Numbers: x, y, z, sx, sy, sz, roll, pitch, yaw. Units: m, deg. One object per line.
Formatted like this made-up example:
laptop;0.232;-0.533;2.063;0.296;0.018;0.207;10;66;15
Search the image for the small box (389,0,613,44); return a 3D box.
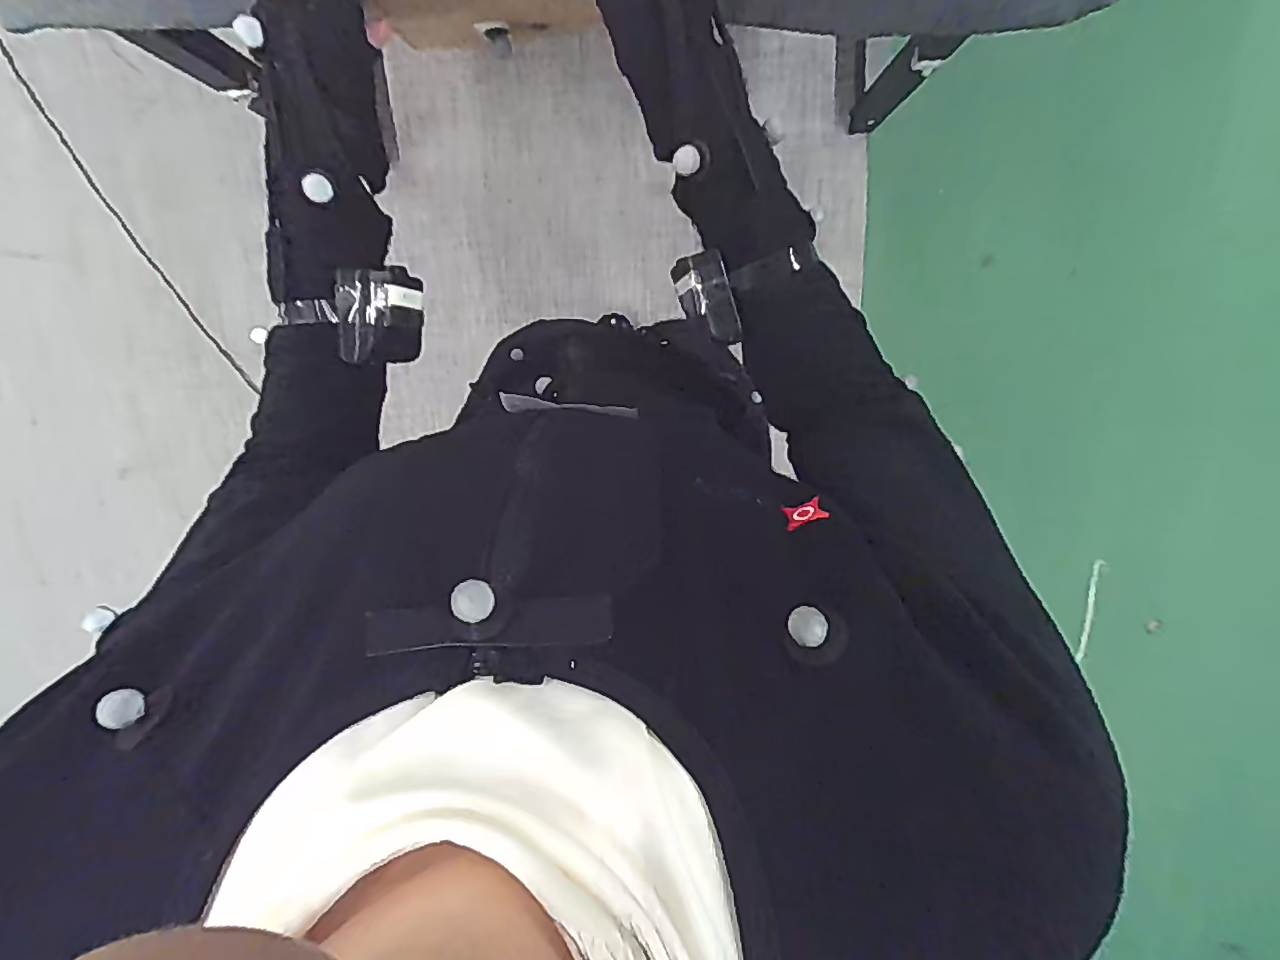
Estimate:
small box;-0.107;-0.407;0.328;0.168;0.176;0.179;-7;115;2
